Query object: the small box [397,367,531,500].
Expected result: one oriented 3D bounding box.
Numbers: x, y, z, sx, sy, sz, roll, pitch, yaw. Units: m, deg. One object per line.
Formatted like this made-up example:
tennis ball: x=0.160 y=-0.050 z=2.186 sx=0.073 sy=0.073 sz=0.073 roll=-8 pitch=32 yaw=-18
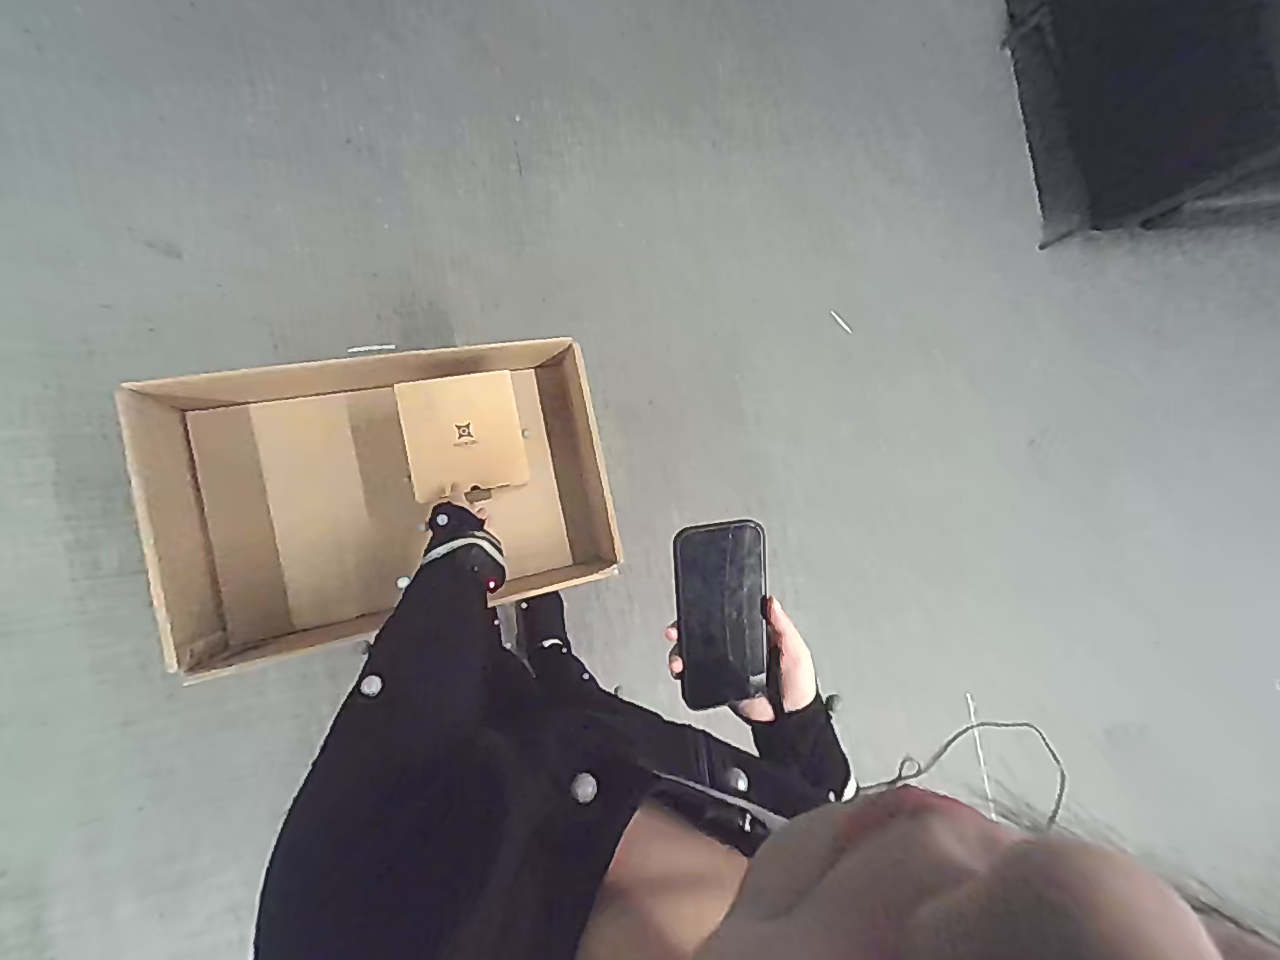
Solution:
small box: x=-0.278 y=-0.068 z=0.864 sx=0.168 sy=0.176 sz=0.179 roll=-11 pitch=90 yaw=-17
